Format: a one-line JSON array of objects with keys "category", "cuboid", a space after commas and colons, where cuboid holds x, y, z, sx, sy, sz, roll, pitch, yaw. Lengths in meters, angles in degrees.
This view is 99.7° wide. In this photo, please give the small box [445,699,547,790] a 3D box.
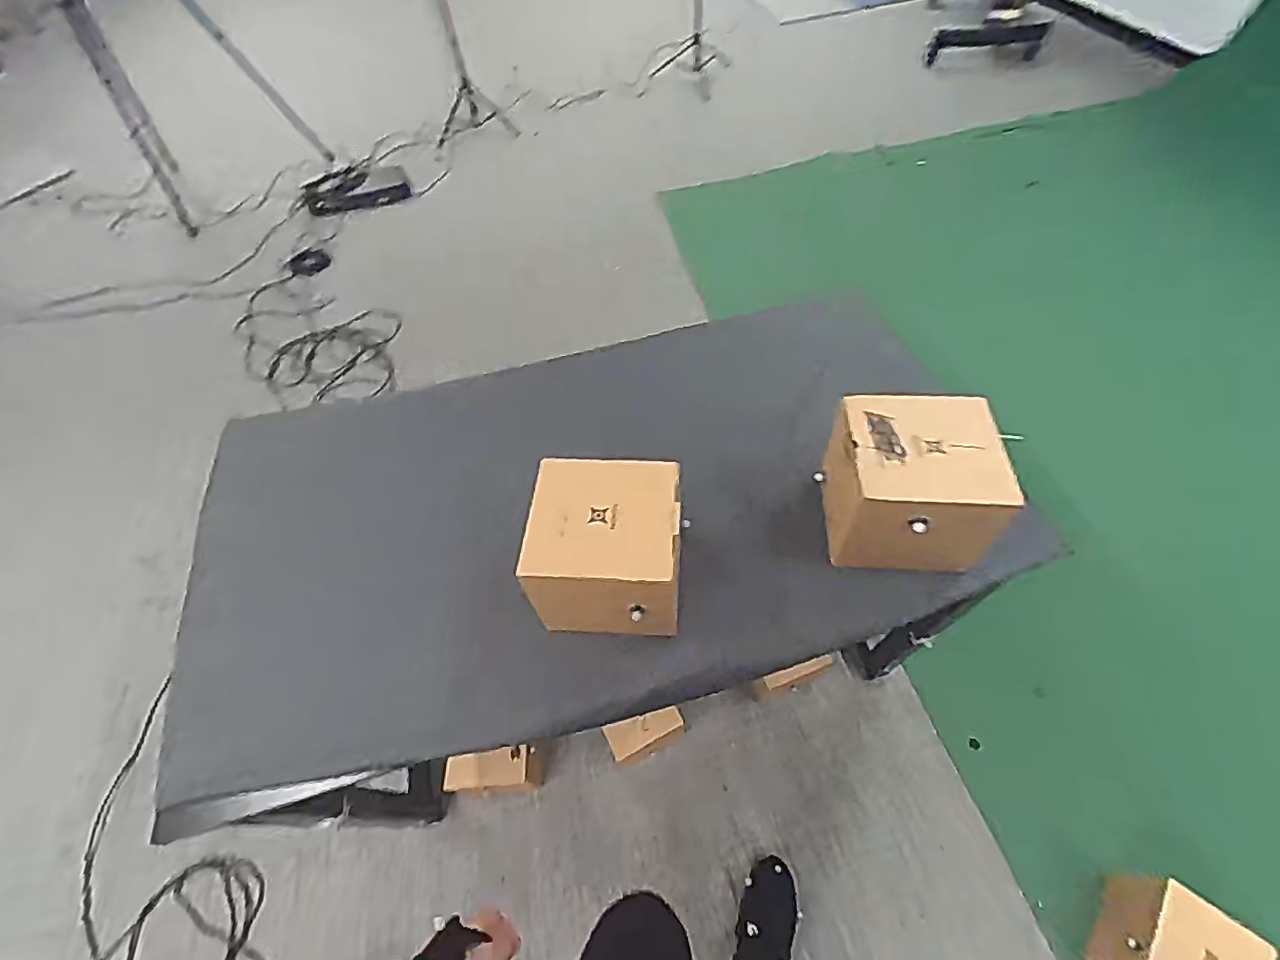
[{"category": "small box", "cuboid": [-0.323, 0.612, 1.246, 0.179, 0.176, 0.168, -5, 57, 2]}]

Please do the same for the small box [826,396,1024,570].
[{"category": "small box", "cuboid": [0.349, 0.008, 0.709, 0.179, 0.176, 0.168, 2, 55, 7]}]

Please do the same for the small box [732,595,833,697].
[{"category": "small box", "cuboid": [0.339, 0.413, 1.321, 0.168, 0.176, 0.179, -19, 58, -9]}]

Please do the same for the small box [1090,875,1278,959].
[{"category": "small box", "cuboid": [0.978, 0.864, 0.987, 0.168, 0.176, 0.179, 33, 66, 22]}]

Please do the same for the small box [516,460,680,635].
[{"category": "small box", "cuboid": [-0.038, 0.091, 0.692, 0.179, 0.176, 0.168, 0, 54, 6]}]
